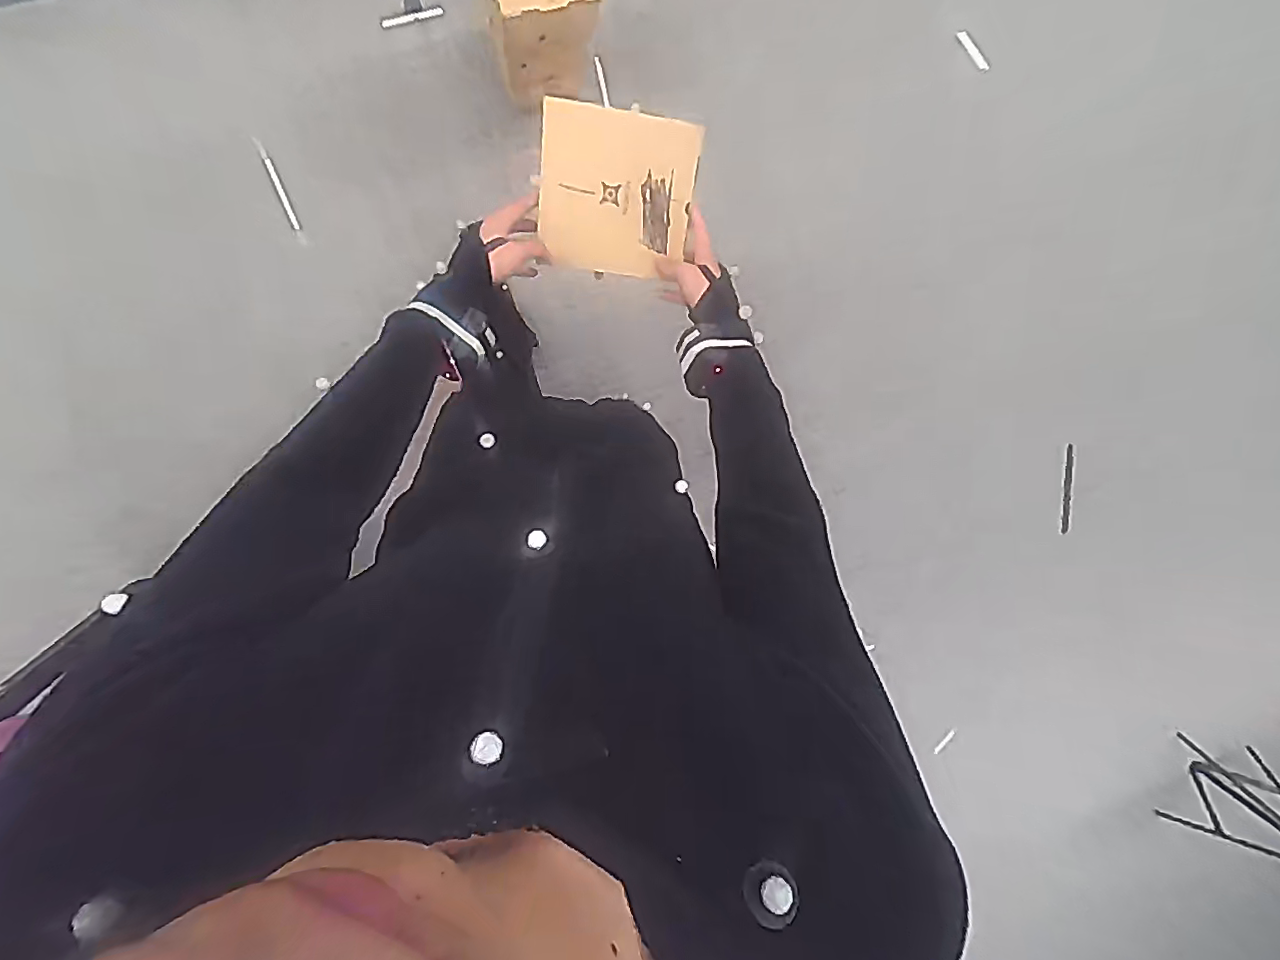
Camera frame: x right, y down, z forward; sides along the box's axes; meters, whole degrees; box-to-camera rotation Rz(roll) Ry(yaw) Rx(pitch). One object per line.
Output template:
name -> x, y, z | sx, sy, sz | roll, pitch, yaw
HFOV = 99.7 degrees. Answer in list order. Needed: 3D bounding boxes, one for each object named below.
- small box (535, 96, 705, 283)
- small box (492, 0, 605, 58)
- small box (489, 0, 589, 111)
small box -> -0.034, -0.355, 0.678 | 0.179, 0.176, 0.168 | 5, 116, -9
small box -> -0.168, -0.844, 0.892 | 0.168, 0.176, 0.179 | -17, 114, -6
small box -> -0.226, -0.957, 1.195 | 0.168, 0.176, 0.179 | -20, 114, -4
